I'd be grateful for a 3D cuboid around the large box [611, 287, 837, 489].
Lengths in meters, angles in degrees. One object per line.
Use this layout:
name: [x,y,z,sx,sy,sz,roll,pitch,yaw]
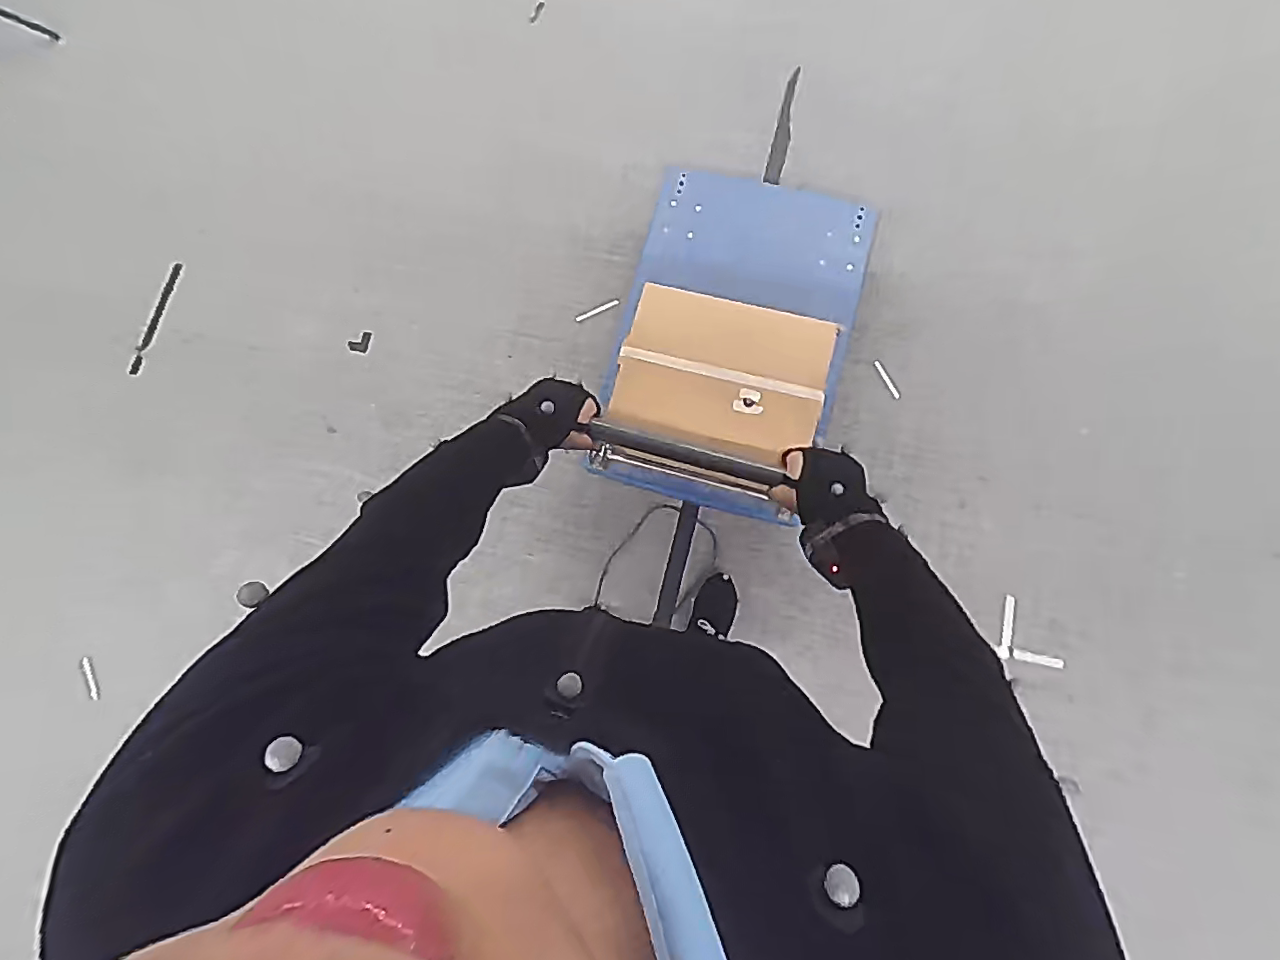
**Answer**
large box: [0.178,-0.191,1.236,0.408,0.320,0.320,15,84,7]
